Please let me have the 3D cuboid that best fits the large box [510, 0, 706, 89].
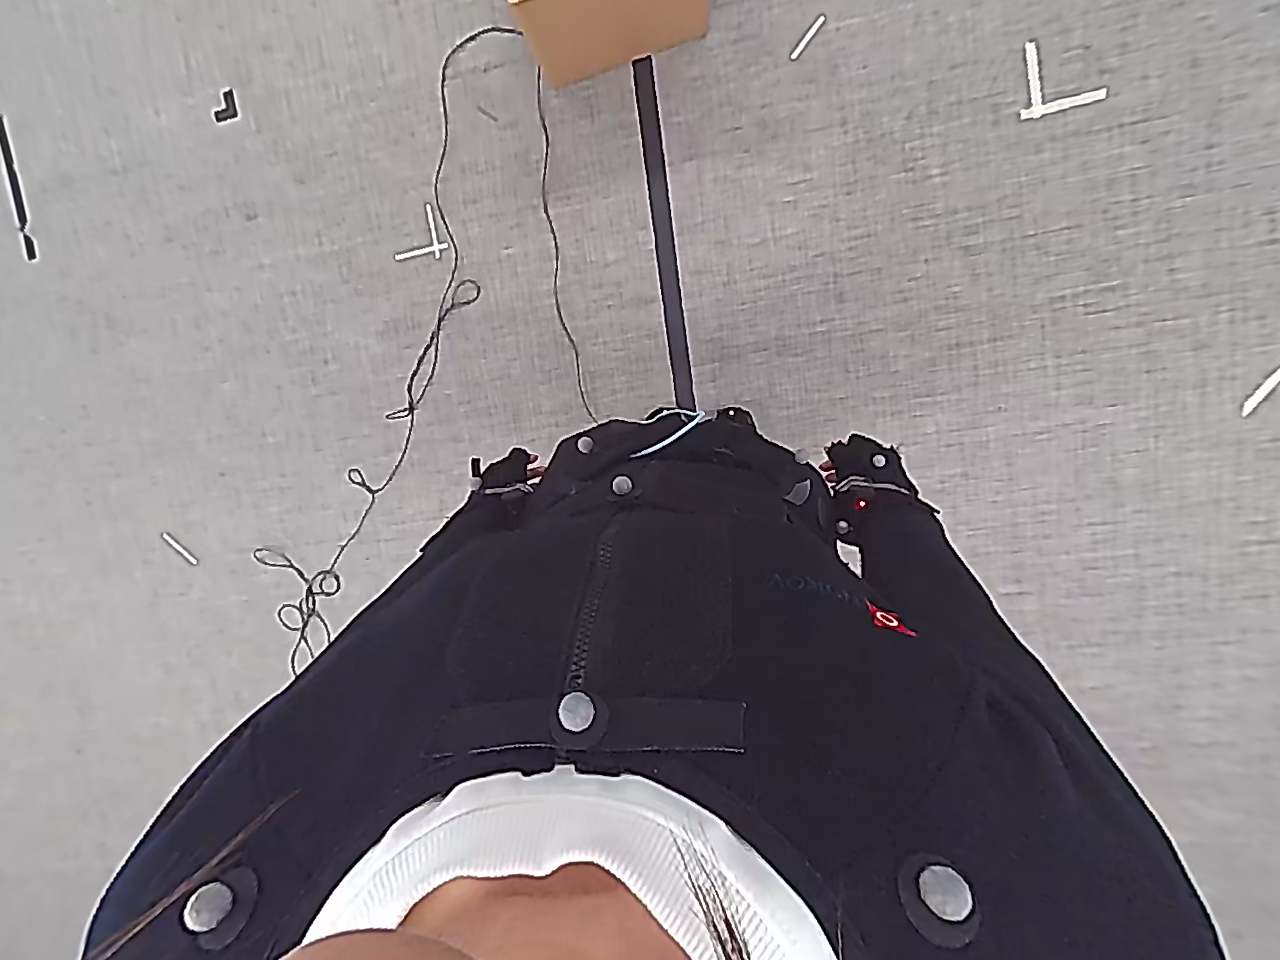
[{"bbox_3d":[-0.088,-1.139,1.154,0.408,0.320,0.320,-14,97,8],"label":"large box"}]
